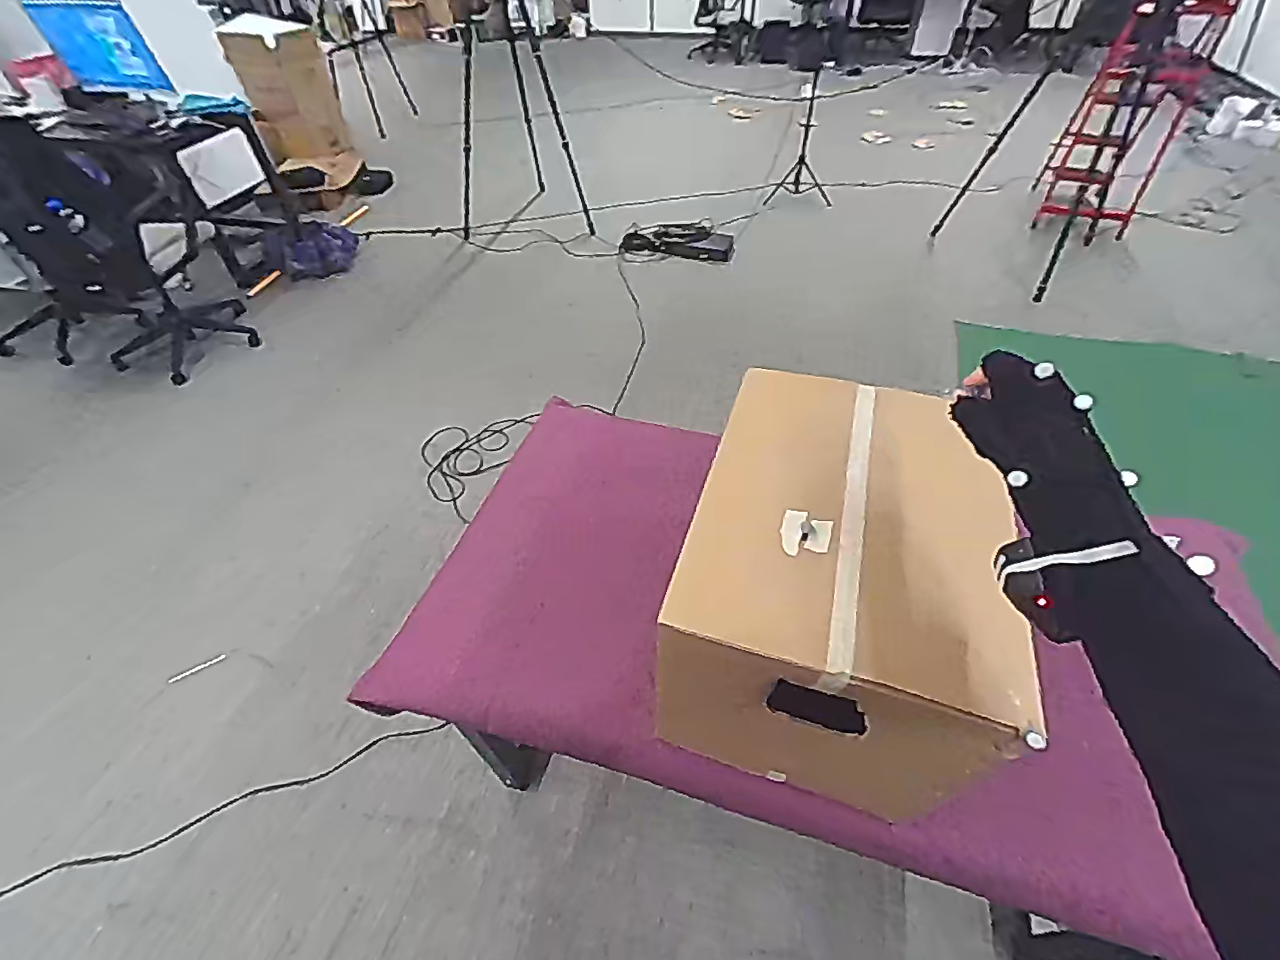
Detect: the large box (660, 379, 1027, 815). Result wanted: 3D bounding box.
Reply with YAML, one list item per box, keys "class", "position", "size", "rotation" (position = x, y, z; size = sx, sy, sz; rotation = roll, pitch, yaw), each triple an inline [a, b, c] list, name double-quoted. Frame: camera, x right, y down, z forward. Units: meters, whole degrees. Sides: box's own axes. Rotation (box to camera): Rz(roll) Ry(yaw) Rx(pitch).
- class: "large box"
  position: [0.229, 0.134, 0.699]
  size: [0.320, 0.320, 0.408]
  rotation: [14, 50, 14]
